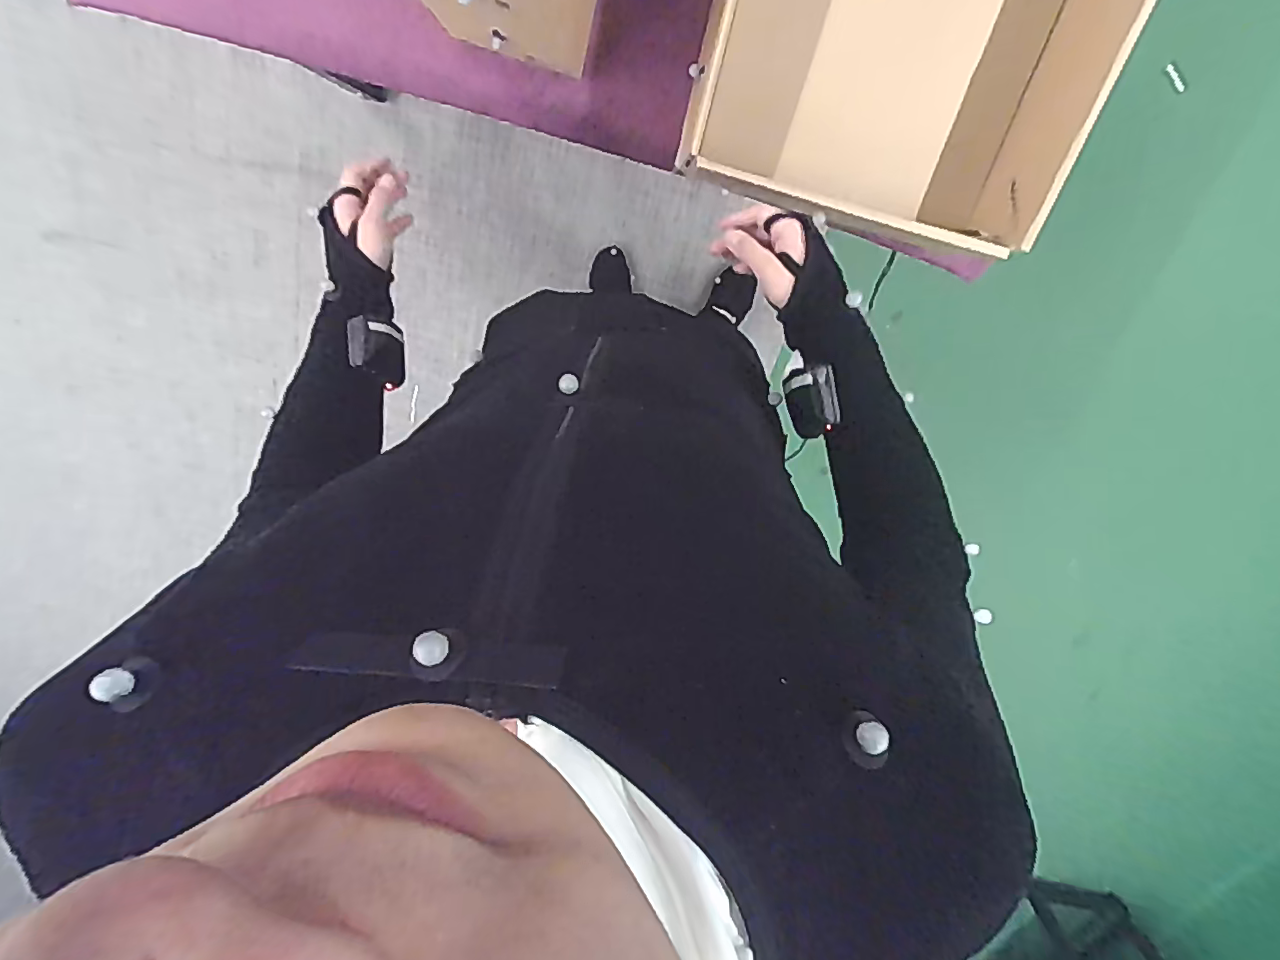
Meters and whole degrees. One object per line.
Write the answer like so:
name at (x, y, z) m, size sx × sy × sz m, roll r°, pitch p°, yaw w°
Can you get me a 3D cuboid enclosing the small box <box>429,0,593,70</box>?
small box at (-0.130, -0.573, 0.568) m, size 0.168 × 0.176 × 0.179 m, roll 14°, pitch 113°, yaw -8°
